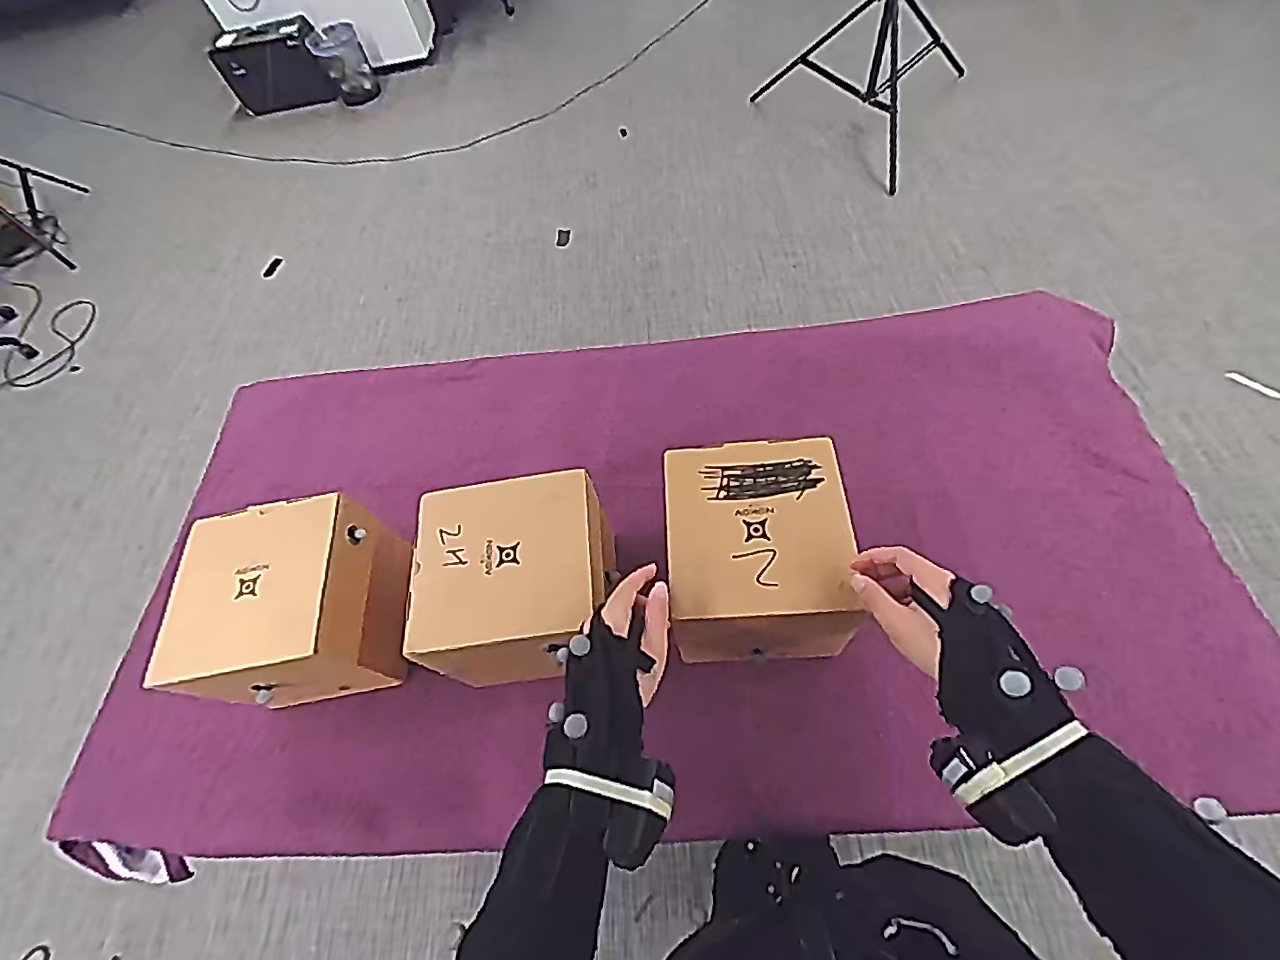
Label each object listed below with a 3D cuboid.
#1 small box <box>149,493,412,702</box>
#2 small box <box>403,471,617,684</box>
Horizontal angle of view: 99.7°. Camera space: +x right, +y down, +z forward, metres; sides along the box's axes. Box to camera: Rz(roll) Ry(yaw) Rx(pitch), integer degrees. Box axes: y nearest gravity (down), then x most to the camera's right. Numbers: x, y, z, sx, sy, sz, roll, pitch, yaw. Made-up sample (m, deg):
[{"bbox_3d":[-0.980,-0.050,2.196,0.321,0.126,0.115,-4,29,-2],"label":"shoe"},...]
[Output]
[{"bbox_3d":[-0.376,0.142,0.606,0.168,0.176,0.179,-12,58,2],"label":"small box"},{"bbox_3d":[-0.122,0.112,0.581,0.179,0.176,0.168,-9,58,3],"label":"small box"}]
